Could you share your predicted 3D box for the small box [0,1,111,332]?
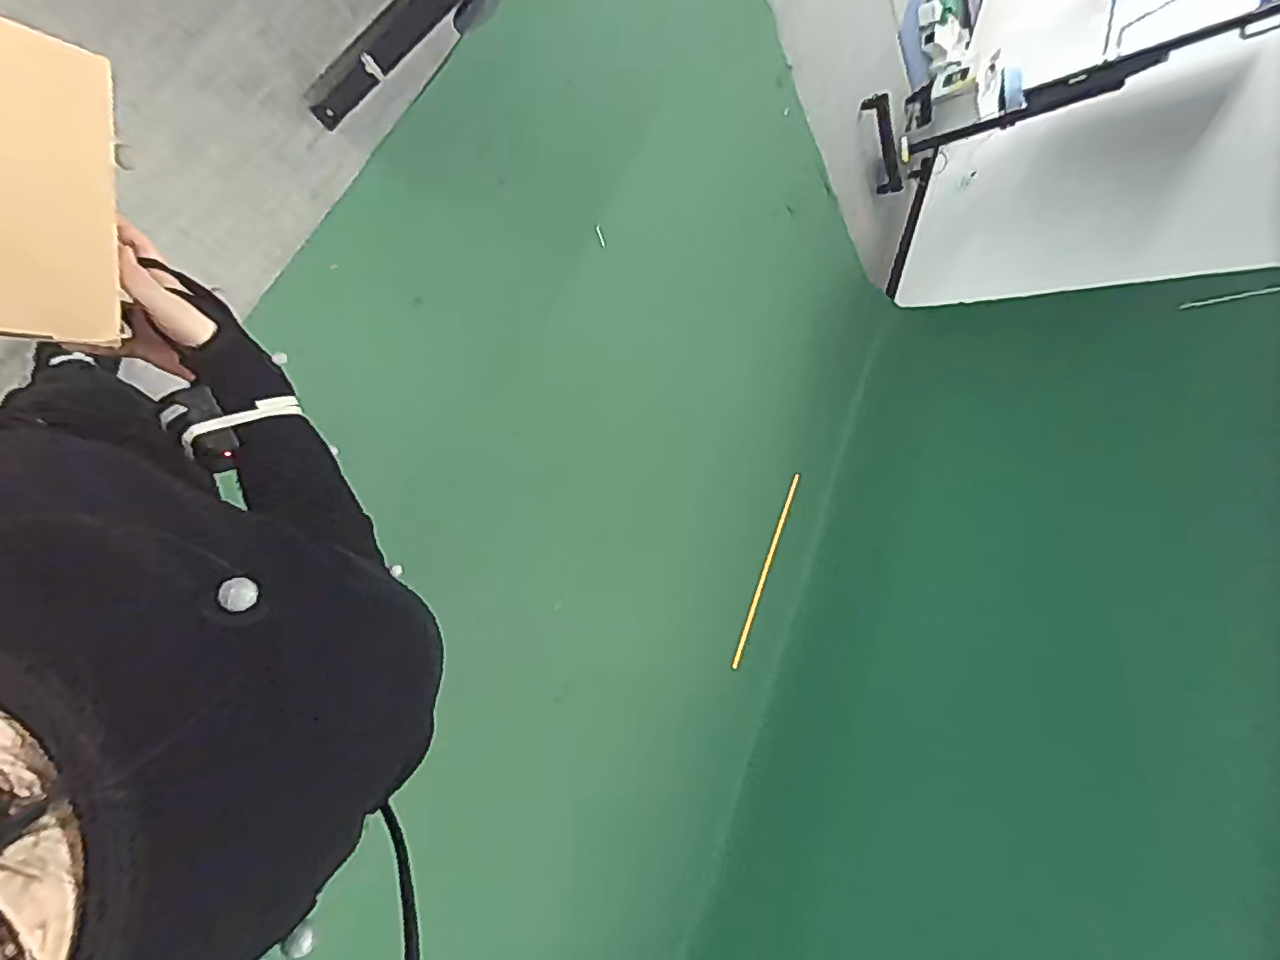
[{"bbox_3d":[-0.452,-0.196,0.332,0.168,0.176,0.179,-3,104,-50],"label":"small box"}]
